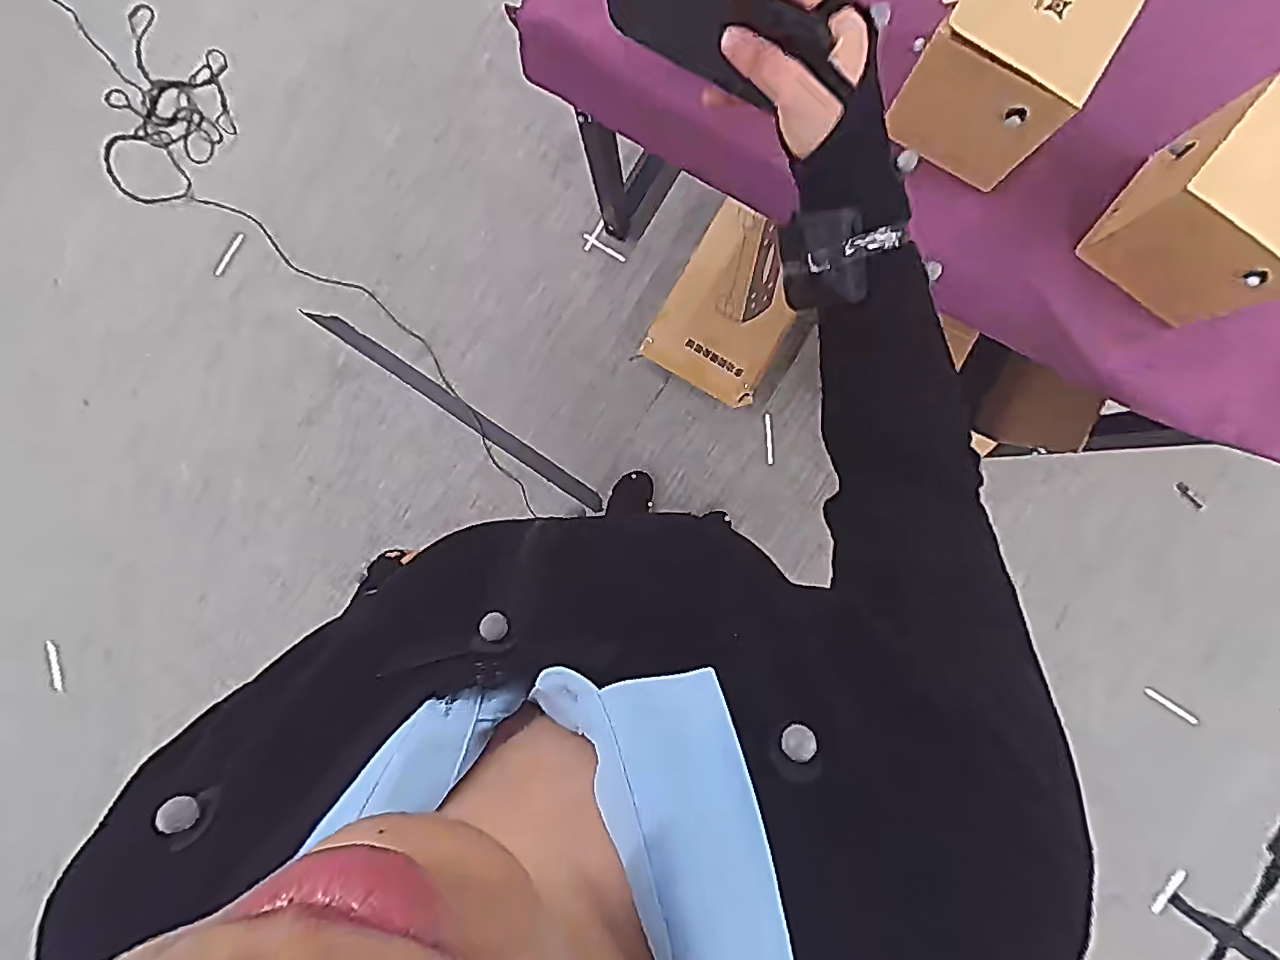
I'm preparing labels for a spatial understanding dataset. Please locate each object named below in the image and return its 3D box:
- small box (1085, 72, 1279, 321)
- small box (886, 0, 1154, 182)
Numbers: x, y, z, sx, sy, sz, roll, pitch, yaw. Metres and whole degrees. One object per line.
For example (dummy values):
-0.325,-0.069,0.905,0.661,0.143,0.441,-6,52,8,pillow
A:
0.702,-0.318,0.644,0.179,0.176,0.168,38,92,2,small box
0.443,-0.503,0.655,0.179,0.176,0.168,31,89,2,small box
